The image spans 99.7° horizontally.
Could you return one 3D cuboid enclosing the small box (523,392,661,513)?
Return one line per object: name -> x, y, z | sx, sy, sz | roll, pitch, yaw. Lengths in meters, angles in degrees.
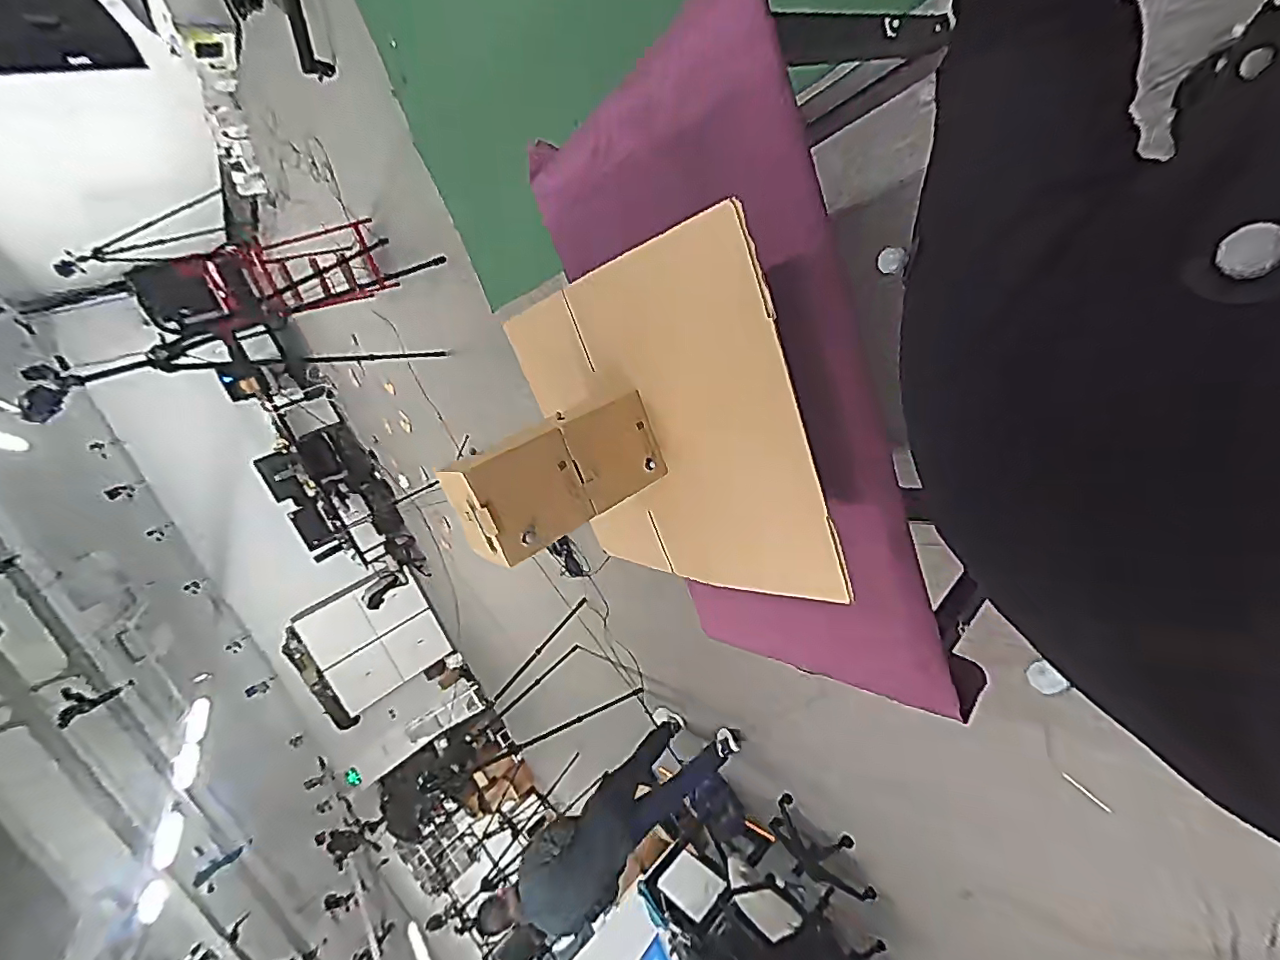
small box -> -0.081, -0.054, 0.994 | 0.179, 0.176, 0.168 | 3, 118, 56
